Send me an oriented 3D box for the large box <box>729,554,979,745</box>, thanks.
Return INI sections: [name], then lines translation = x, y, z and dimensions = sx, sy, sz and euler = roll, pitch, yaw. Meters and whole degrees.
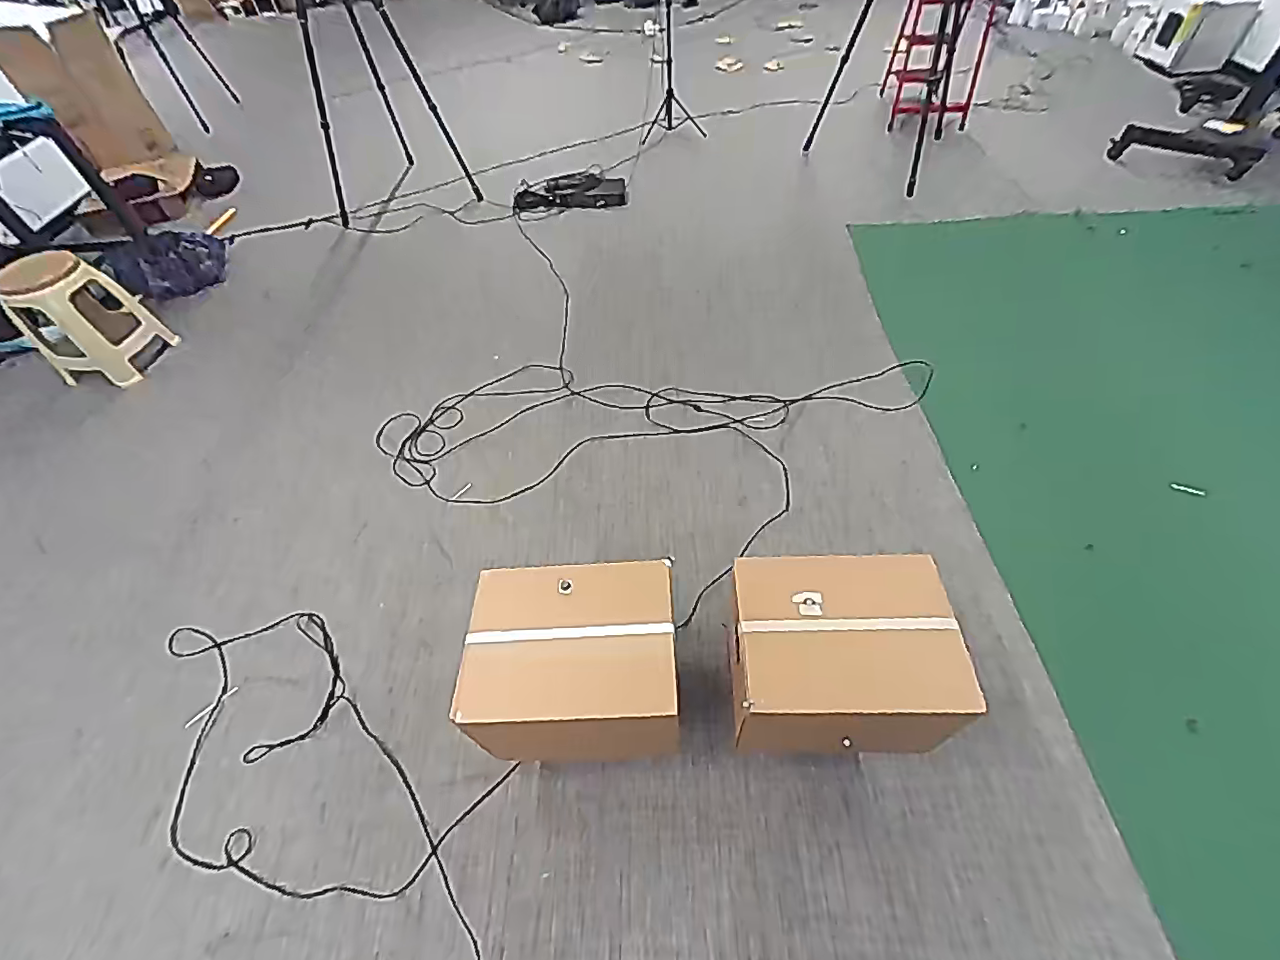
[large box]
translation = 0.409, 0.373, 1.158
dimensions = 0.408, 0.320, 0.320
euler = -2, 52, 4
